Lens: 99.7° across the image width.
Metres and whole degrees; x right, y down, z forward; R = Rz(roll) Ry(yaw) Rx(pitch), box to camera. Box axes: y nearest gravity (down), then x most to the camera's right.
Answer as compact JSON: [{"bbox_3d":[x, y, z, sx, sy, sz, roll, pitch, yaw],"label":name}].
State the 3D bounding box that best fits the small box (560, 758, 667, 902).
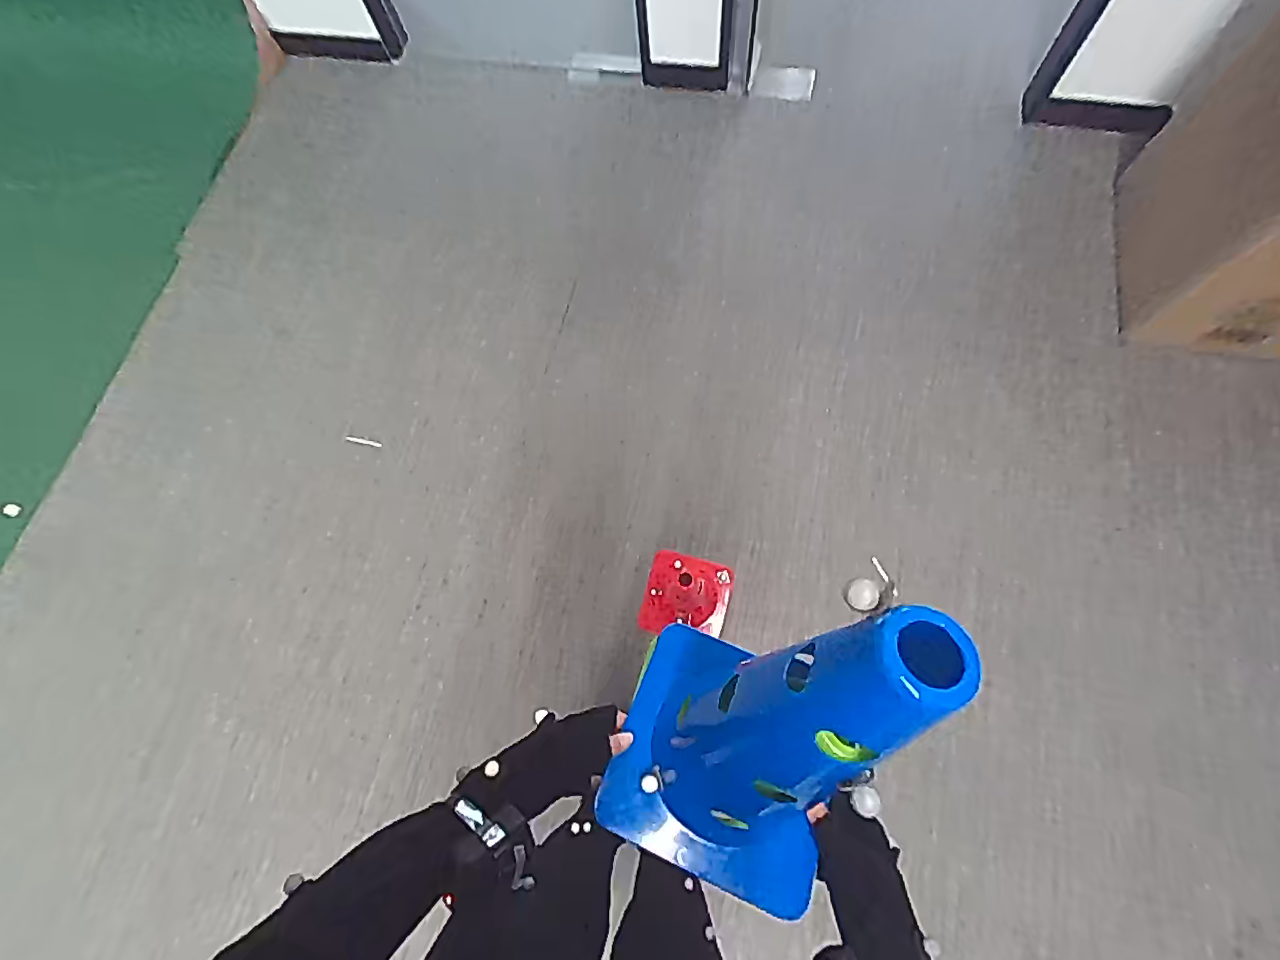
[{"bbox_3d":[-0.056,0.717,1.129,0.168,0.176,0.179,20,77,-2],"label":"small box"}]
